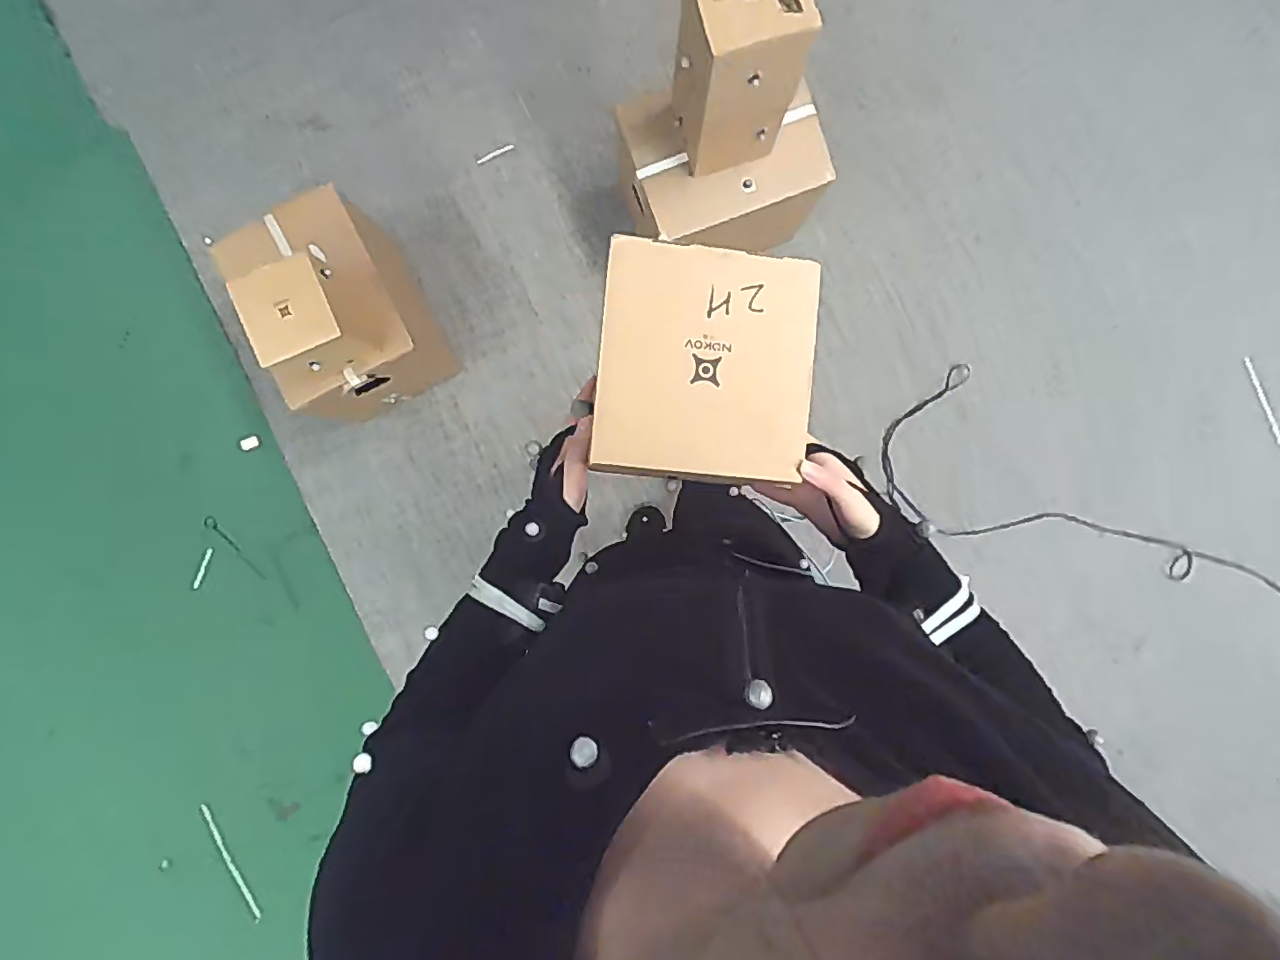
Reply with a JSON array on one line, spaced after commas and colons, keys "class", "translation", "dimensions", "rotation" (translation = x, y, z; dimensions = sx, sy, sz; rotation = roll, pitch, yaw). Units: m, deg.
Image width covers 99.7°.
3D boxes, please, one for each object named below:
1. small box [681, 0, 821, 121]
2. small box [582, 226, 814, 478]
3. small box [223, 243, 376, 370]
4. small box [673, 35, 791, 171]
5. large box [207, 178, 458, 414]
[{"class": "small box", "translation": [0.174, -0.746, 0.900], "dimensions": [0.179, 0.176, 0.168], "rotation": [-15, 90, 1]}, {"class": "small box", "translation": [0.039, -0.096, 0.491], "dimensions": [0.168, 0.176, 0.179], "rotation": [6, 89, -6]}, {"class": "small box", "translation": [-0.665, -0.332, 1.080], "dimensions": [0.168, 0.176, 0.179], "rotation": [-22, 91, 0]}, {"class": "small box", "translation": [0.172, -0.751, 1.065], "dimensions": [0.179, 0.176, 0.168], "rotation": [-16, 90, 1]}, {"class": "large box", "translation": [-0.715, -0.415, 1.322], "dimensions": [0.320, 0.320, 0.408], "rotation": [-26, 91, 1]}]
